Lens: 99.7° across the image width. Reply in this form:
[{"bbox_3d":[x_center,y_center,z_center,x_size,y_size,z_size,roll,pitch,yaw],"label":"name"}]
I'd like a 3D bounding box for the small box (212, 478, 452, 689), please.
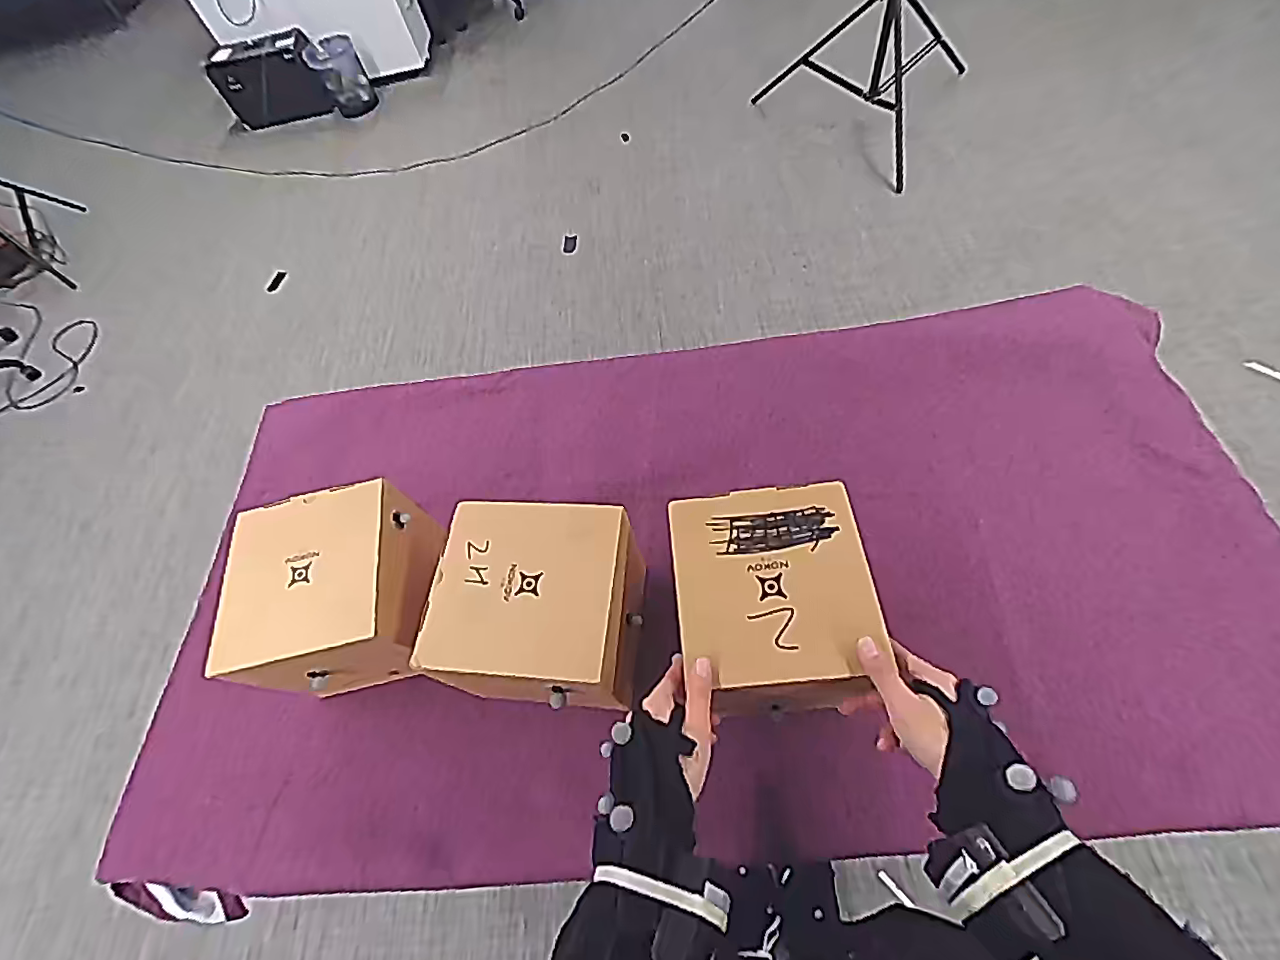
[{"bbox_3d":[-0.326,0.127,0.611,0.168,0.176,0.179,-15,59,1],"label":"small box"}]
